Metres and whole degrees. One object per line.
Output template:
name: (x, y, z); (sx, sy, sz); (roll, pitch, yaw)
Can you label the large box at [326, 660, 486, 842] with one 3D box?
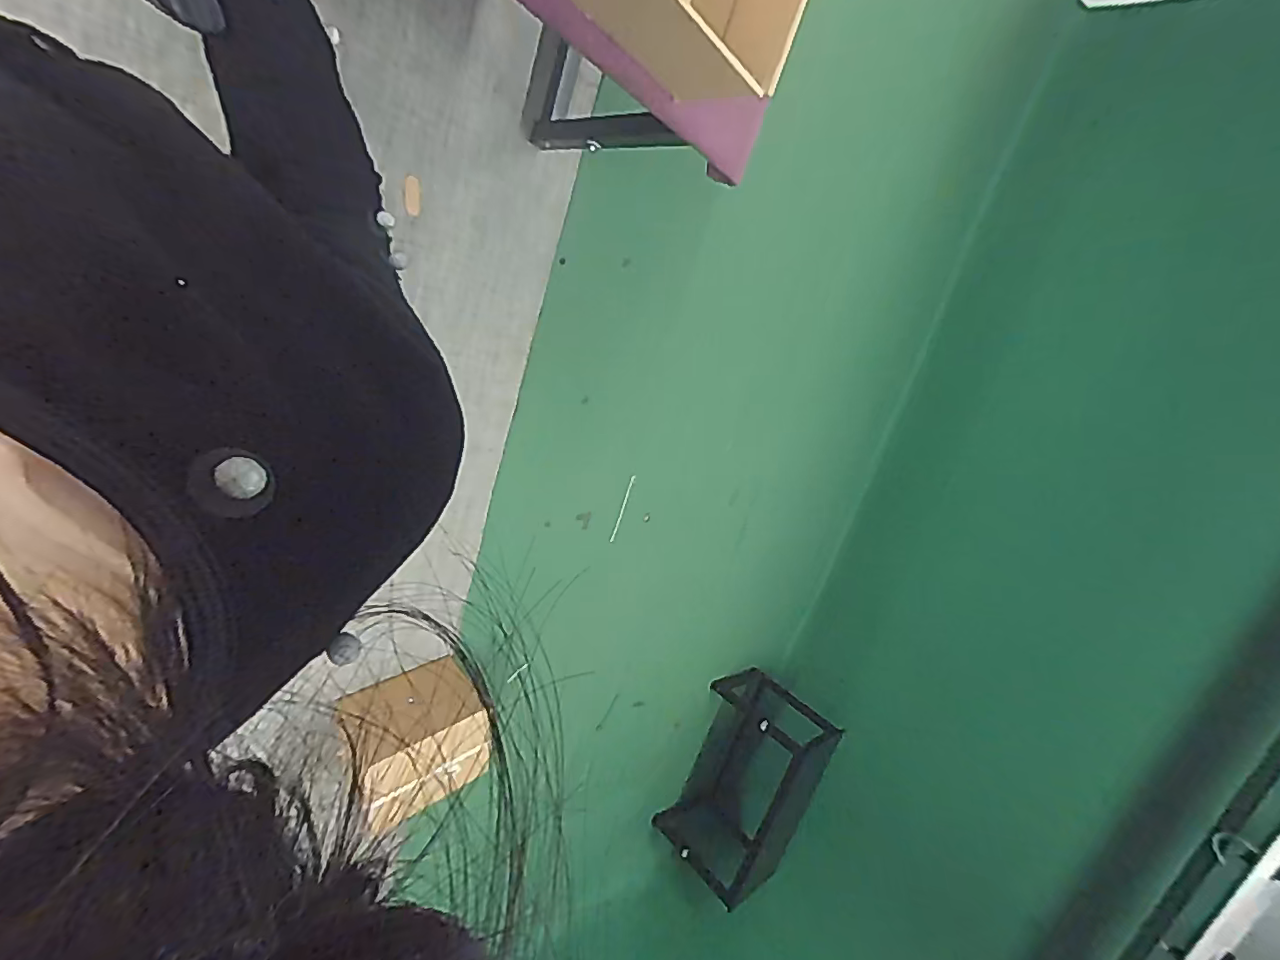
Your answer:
large box: (-0.778, 0.884, 1.822); (0.408, 0.320, 0.320); (-15, 123, -42)
